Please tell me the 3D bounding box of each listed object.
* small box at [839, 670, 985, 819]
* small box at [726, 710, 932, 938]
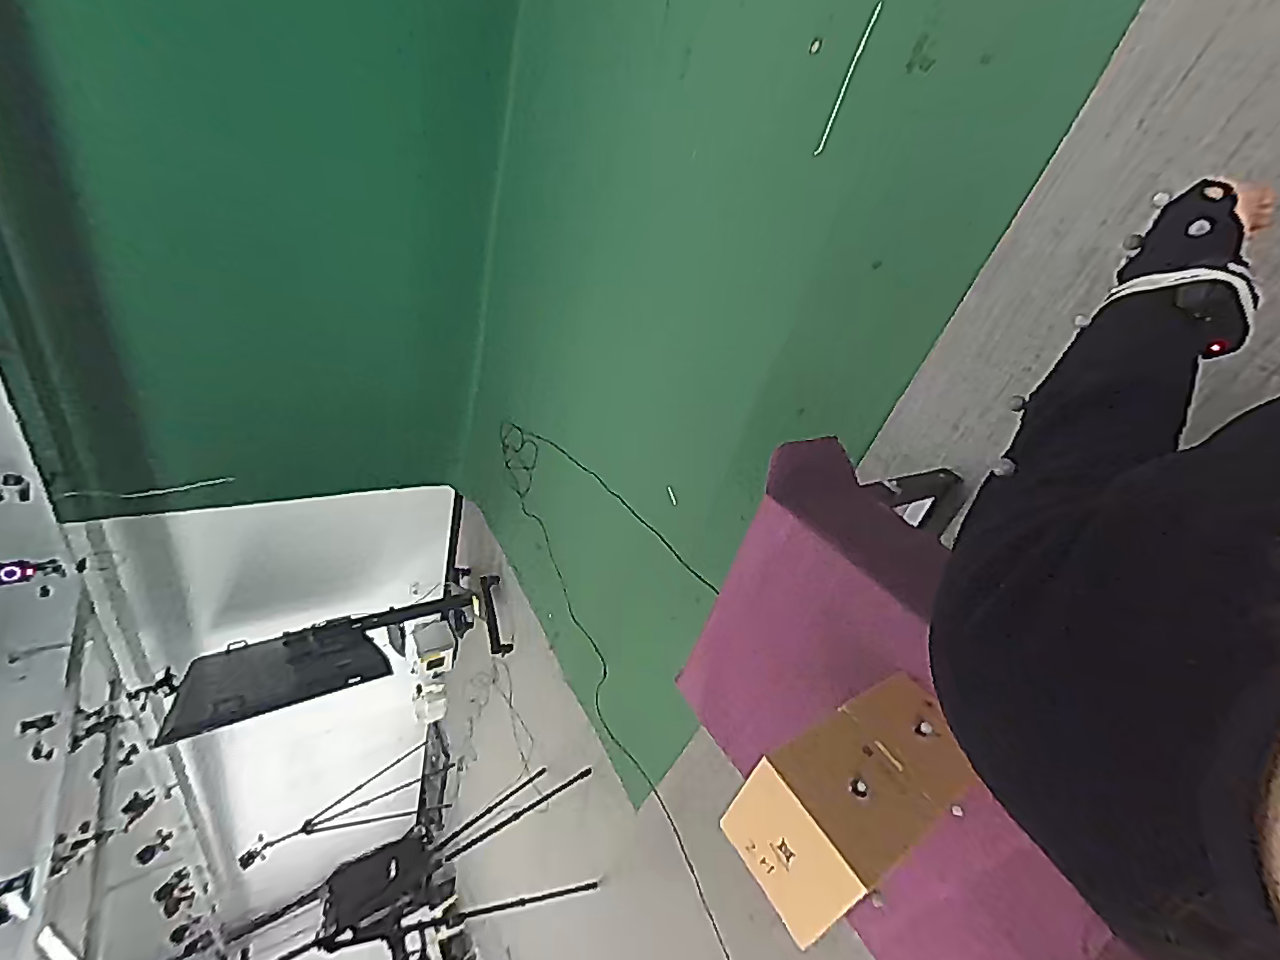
[{"bbox_3d":[0.384,0.422,0.821,0.168,0.176,0.179,47,132,39],"label":"small box"},{"bbox_3d":[0.252,0.445,0.723,0.168,0.176,0.179,47,133,39],"label":"small box"}]
